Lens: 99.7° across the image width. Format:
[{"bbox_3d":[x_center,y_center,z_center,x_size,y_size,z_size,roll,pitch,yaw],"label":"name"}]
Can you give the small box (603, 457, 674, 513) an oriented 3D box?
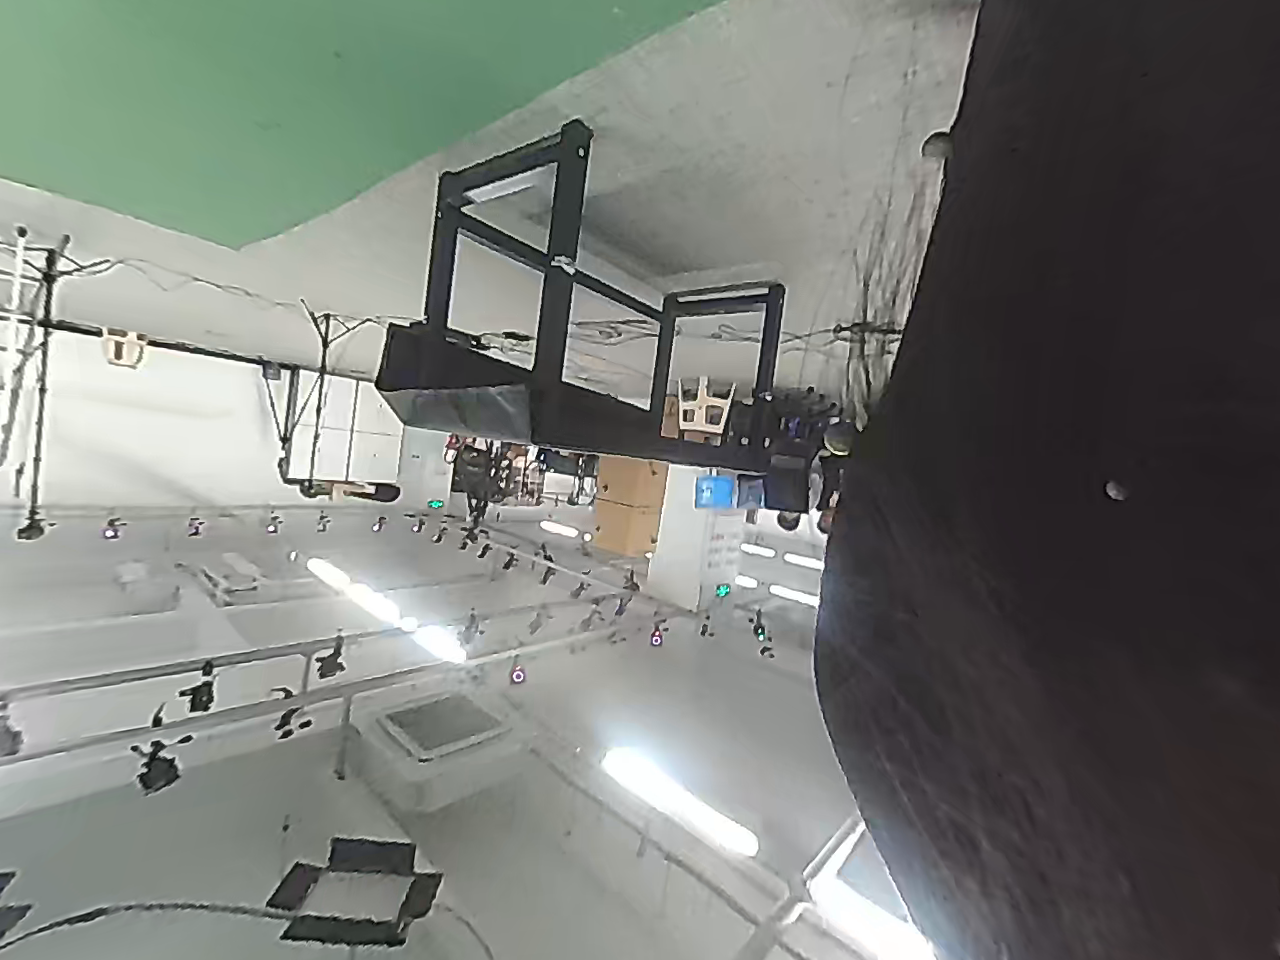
[{"bbox_3d":[-0.001,0.014,1.845,0.179,0.176,0.168,10,-176,40],"label":"small box"}]
